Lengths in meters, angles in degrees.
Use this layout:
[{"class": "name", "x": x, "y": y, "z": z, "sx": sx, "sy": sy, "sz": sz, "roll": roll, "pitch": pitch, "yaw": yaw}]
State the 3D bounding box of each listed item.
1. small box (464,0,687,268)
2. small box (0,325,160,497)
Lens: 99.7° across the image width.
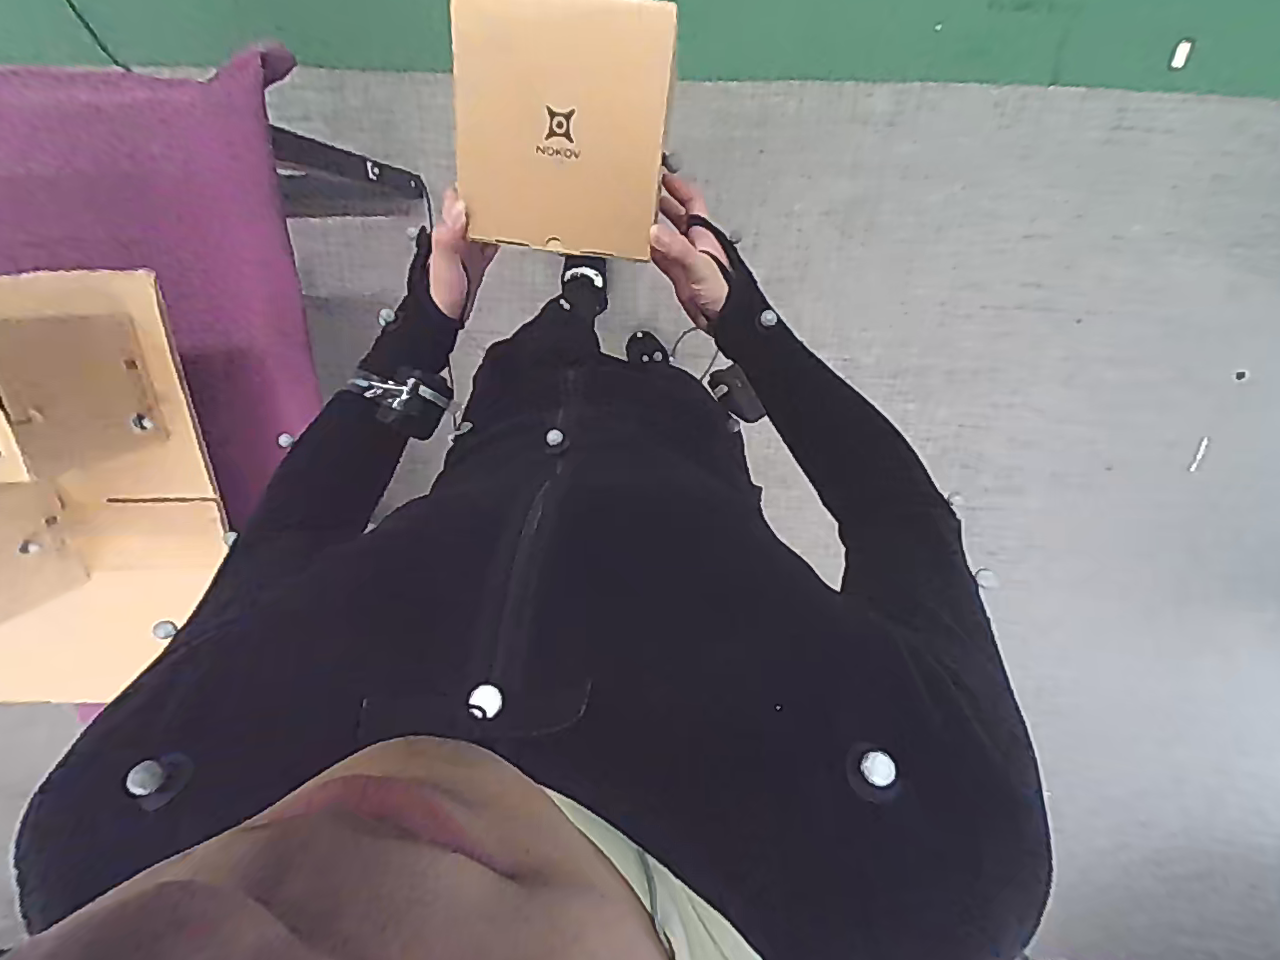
[{"class": "small box", "x": -0.054, "y": -0.304, "z": 0.497, "sx": 0.168, "sy": 0.176, "sz": 0.179, "roll": 7, "pitch": 117, "yaw": -1}, {"class": "small box", "x": -0.704, "y": -0.086, "z": 0.615, "sx": 0.179, "sy": 0.176, "sz": 0.168, "roll": -1, "pitch": 108, "yaw": 3}]
